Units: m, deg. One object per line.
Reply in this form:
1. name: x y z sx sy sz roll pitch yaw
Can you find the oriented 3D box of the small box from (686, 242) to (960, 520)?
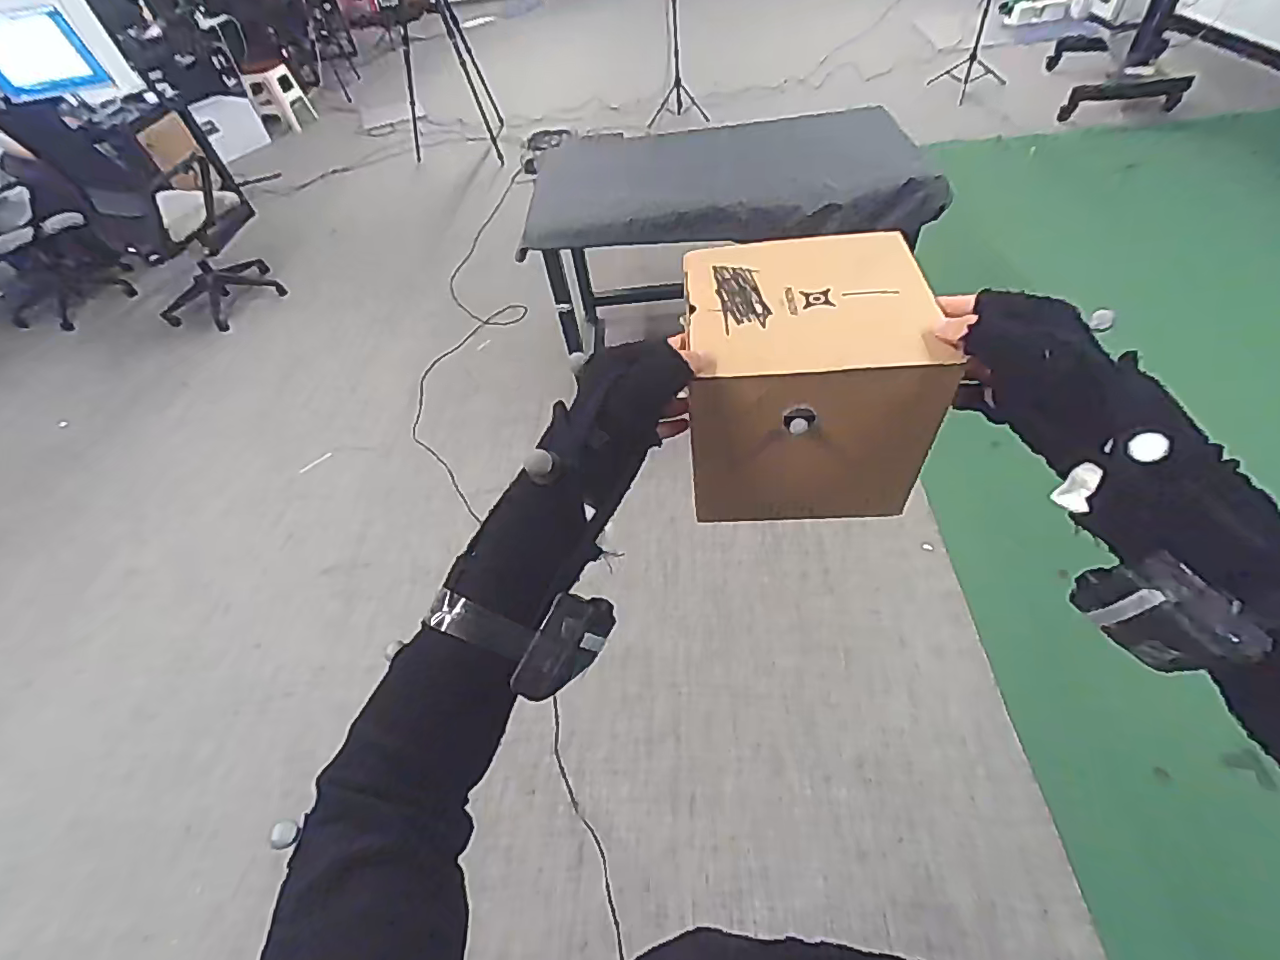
1. small box: 0.132 -0.077 0.461 0.179 0.176 0.168 -2 51 7
